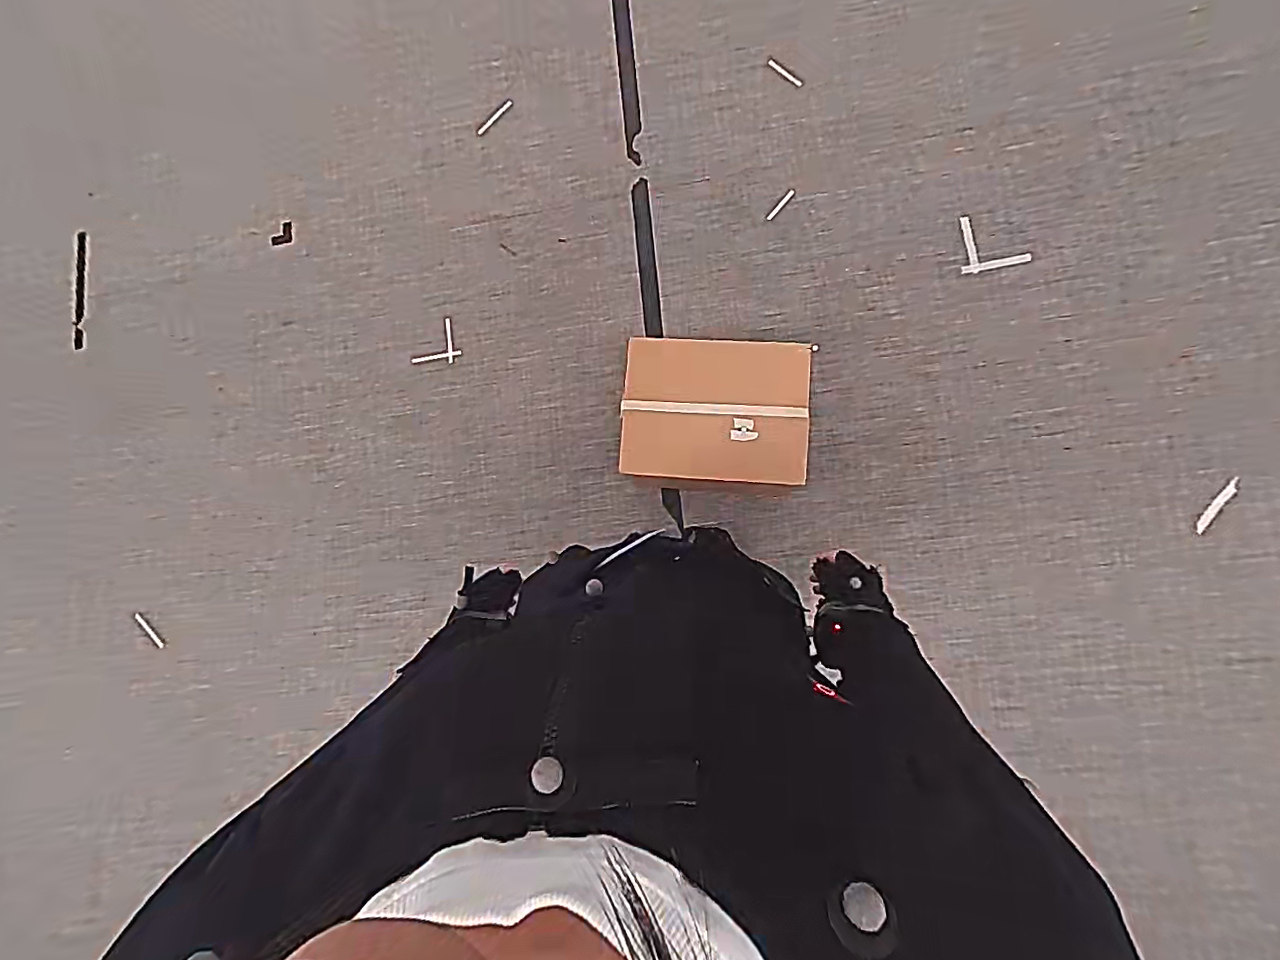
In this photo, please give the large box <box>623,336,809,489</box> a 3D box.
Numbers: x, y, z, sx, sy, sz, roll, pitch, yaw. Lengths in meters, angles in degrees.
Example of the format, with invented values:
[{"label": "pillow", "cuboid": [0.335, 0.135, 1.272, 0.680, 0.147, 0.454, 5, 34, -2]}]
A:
[{"label": "large box", "cuboid": [0.180, -0.152, 1.345, 0.408, 0.320, 0.320, 4, 86, 7]}]
